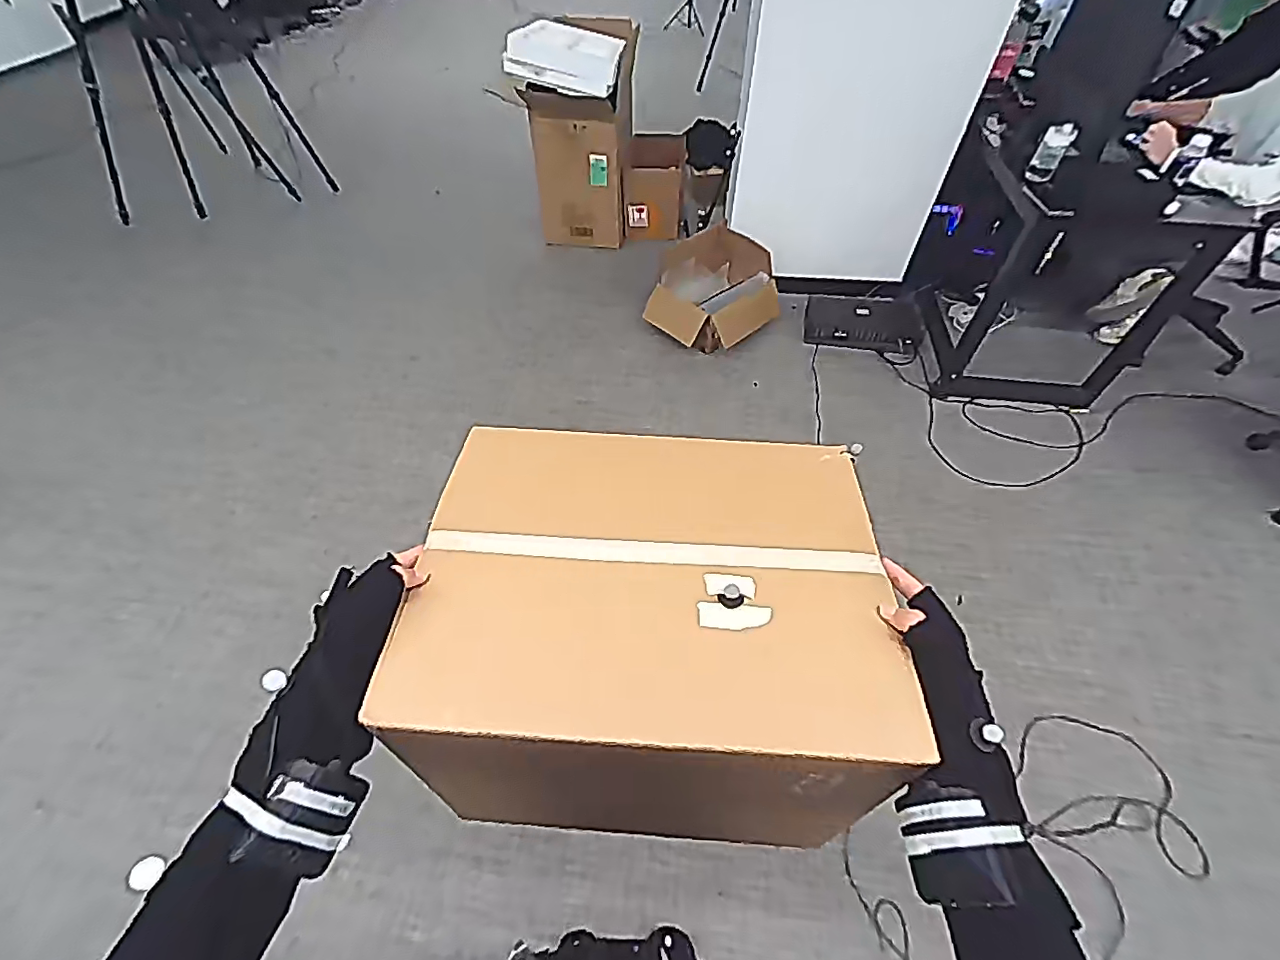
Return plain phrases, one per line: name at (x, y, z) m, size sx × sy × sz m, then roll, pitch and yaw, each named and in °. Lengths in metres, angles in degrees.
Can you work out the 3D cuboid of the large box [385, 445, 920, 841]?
large box at (0.010, 0.182, 0.603) m, size 0.408 × 0.320 × 0.320 m, roll 3°, pitch 47°, yaw 2°
